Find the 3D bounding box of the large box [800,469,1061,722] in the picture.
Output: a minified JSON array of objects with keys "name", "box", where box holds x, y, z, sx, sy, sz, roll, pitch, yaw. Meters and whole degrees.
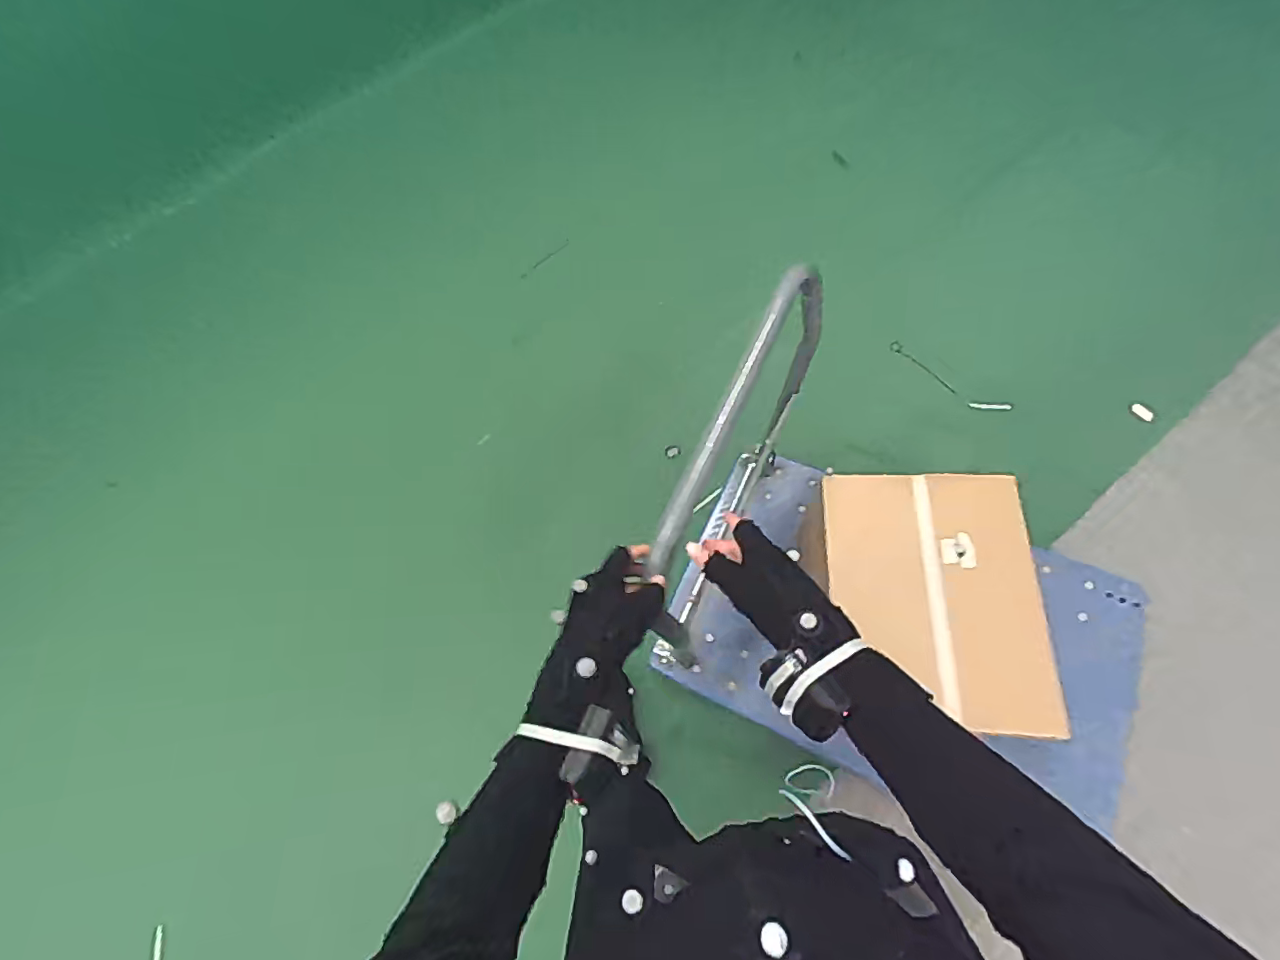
[{"name":"large box","box":[0.481,0.225,1.002,0.320,0.320,0.408,0,67,8]}]
